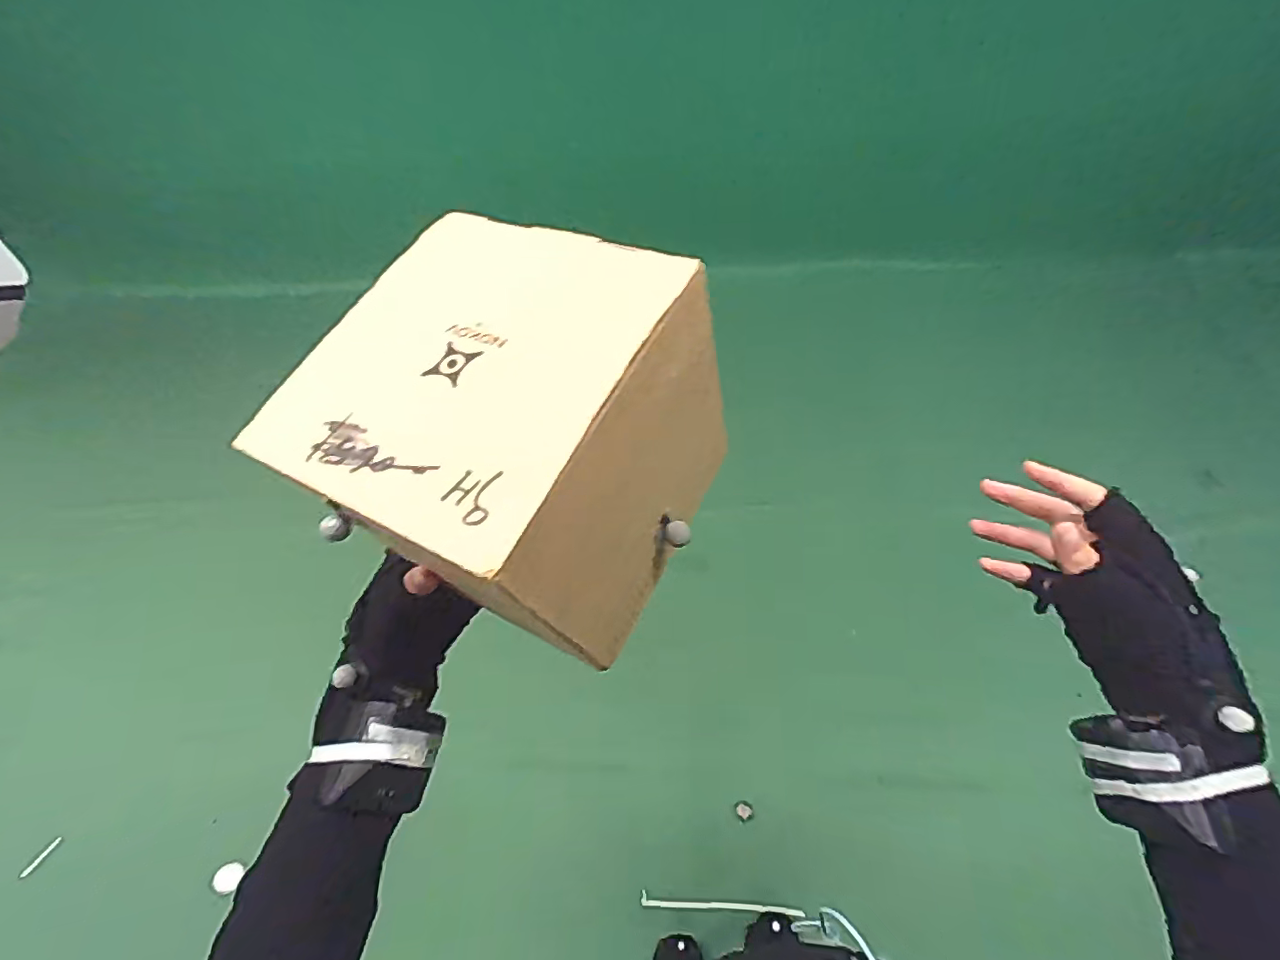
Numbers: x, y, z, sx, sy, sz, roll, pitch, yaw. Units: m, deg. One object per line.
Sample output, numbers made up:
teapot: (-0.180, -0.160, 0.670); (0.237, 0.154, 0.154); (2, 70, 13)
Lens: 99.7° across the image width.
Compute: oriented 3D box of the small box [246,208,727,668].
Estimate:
small box: (-0.058, -0.021, 0.315); (0.168, 0.176, 0.179); (22, 66, 25)
